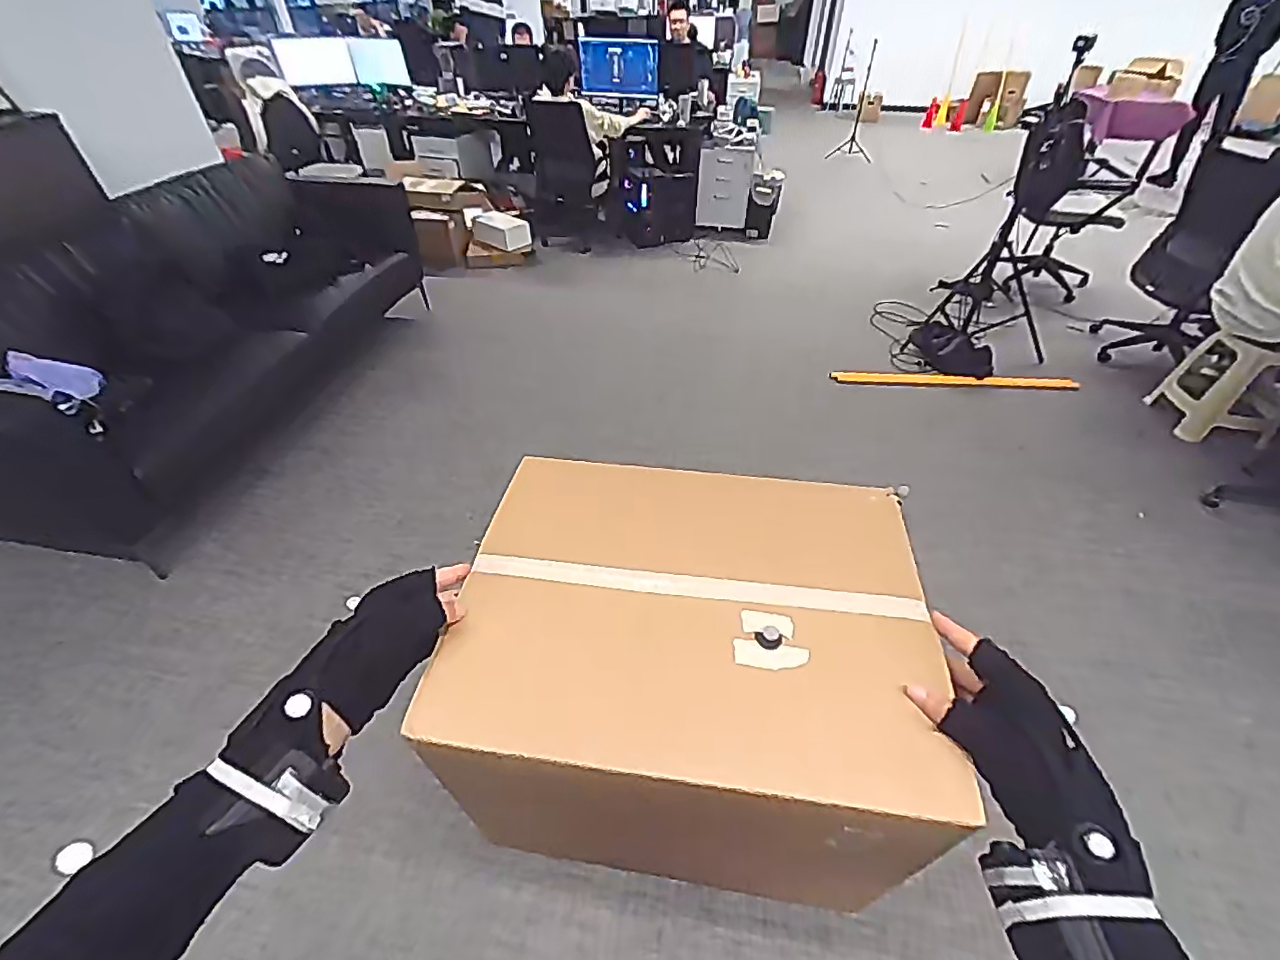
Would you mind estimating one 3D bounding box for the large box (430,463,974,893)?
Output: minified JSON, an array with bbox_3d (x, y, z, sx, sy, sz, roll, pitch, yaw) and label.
[{"bbox_3d":[0.053,0.209,0.596,0.408,0.320,0.320,6,44,6],"label":"large box"}]
